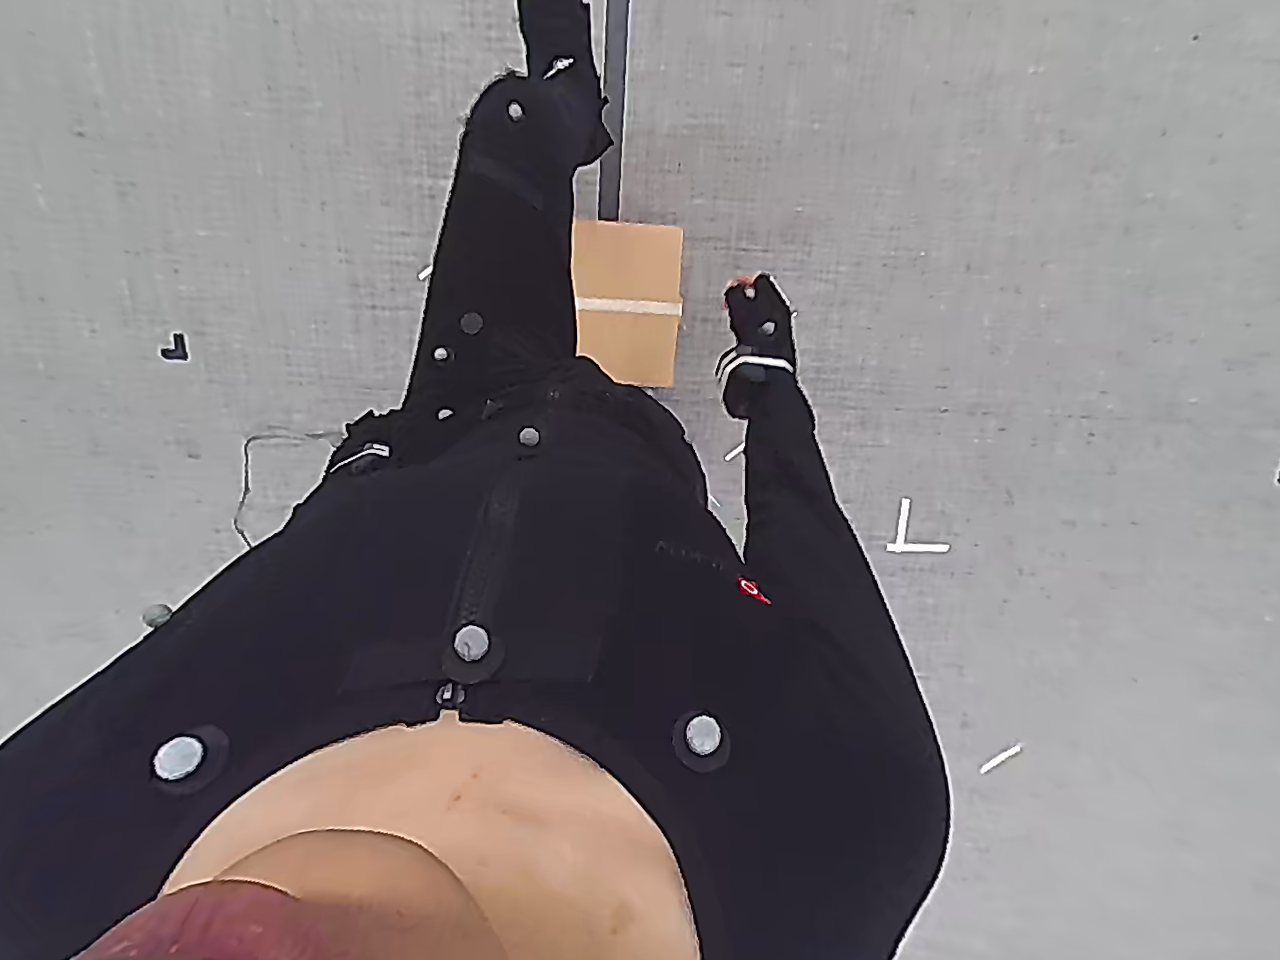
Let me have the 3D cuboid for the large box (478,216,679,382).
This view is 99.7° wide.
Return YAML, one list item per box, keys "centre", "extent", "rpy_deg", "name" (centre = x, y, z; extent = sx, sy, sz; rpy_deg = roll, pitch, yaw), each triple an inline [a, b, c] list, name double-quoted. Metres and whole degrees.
- centre: [-0.120, -0.404, 1.238]
  extent: [0.408, 0.320, 0.320]
  rpy_deg: [4, 105, 1]
  name: "large box"
